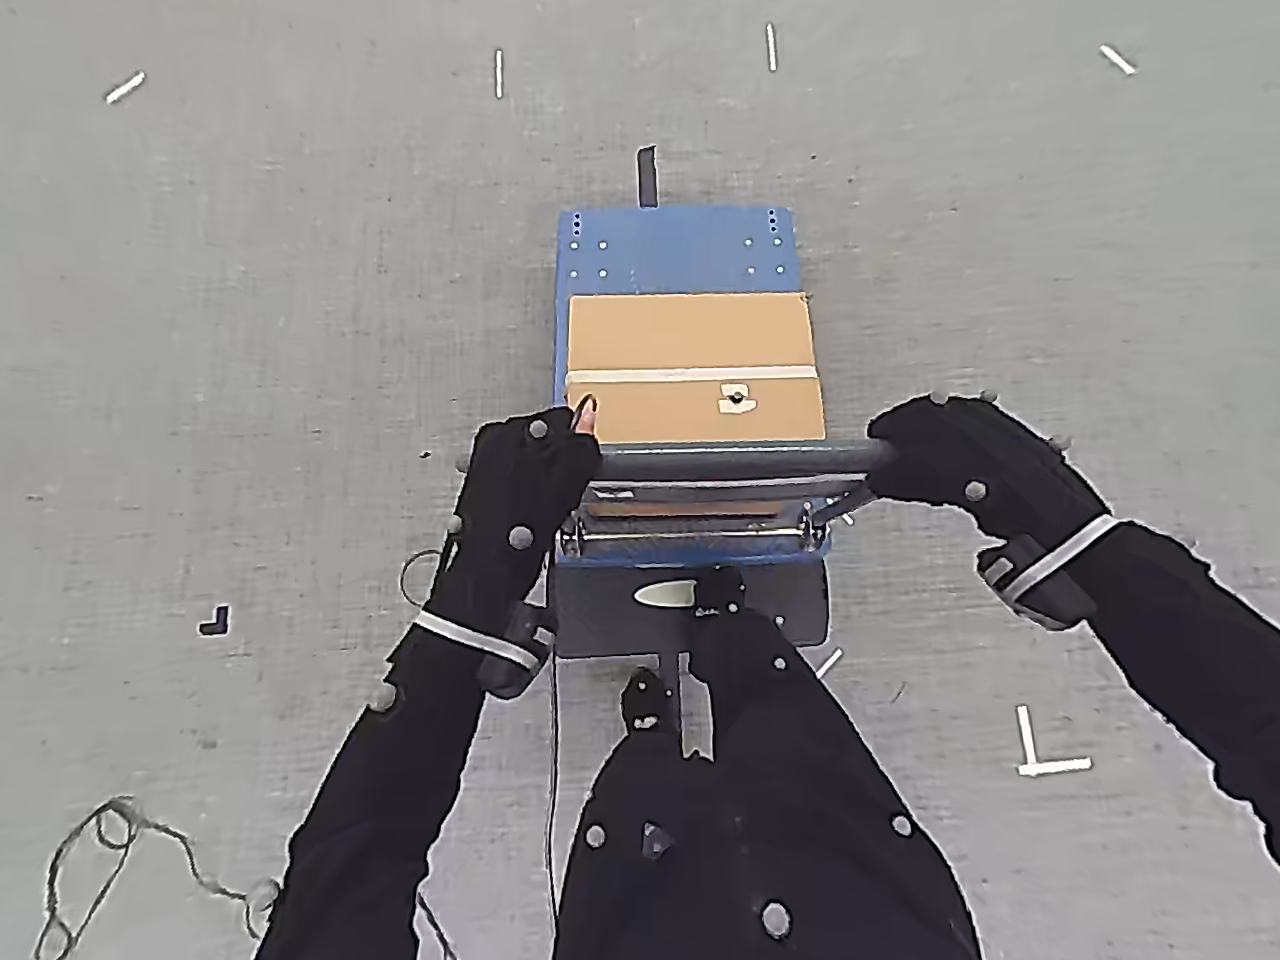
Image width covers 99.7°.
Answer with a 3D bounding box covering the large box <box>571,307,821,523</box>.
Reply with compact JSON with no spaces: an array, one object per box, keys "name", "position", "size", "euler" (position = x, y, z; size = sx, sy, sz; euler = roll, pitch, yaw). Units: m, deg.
[{"name":"large box","position":[0.082,-0.107,1.038],"size":[0.408,0.320,0.320],"euler":[-1,73,-1]}]
